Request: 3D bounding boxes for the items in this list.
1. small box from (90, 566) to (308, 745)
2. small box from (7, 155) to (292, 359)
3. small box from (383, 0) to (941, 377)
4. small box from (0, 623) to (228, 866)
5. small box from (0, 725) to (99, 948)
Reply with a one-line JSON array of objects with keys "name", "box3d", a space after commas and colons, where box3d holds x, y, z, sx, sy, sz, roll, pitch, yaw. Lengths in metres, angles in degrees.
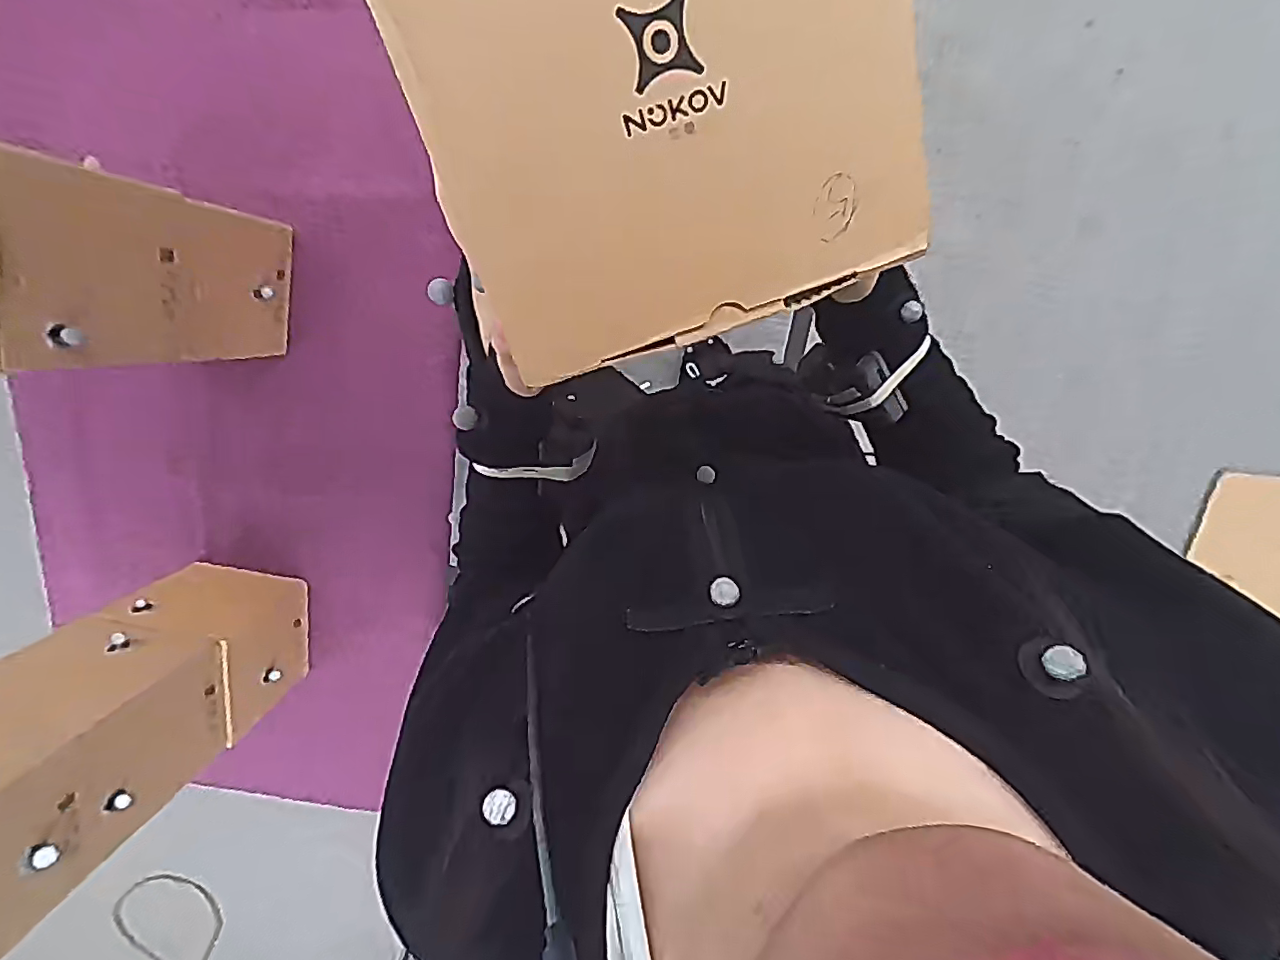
[{"name": "small box", "box3d": [-0.601, 0.237, 0.766, 0.179, 0.176, 0.168, 9, 106, 1]}, {"name": "small box", "box3d": [-0.548, -0.244, 0.627, 0.179, 0.176, 0.168, 13, 107, -1]}, {"name": "small box", "box3d": [0.001, -0.168, 0.245, 0.168, 0.176, 0.179, -20, 112, 0]}, {"name": "small box", "box3d": [-0.615, 0.281, 0.608, 0.179, 0.176, 0.168, 9, 106, 1]}, {"name": "small box", "box3d": [-0.620, 0.321, 0.448, 0.179, 0.176, 0.168, 9, 106, 0]}]
